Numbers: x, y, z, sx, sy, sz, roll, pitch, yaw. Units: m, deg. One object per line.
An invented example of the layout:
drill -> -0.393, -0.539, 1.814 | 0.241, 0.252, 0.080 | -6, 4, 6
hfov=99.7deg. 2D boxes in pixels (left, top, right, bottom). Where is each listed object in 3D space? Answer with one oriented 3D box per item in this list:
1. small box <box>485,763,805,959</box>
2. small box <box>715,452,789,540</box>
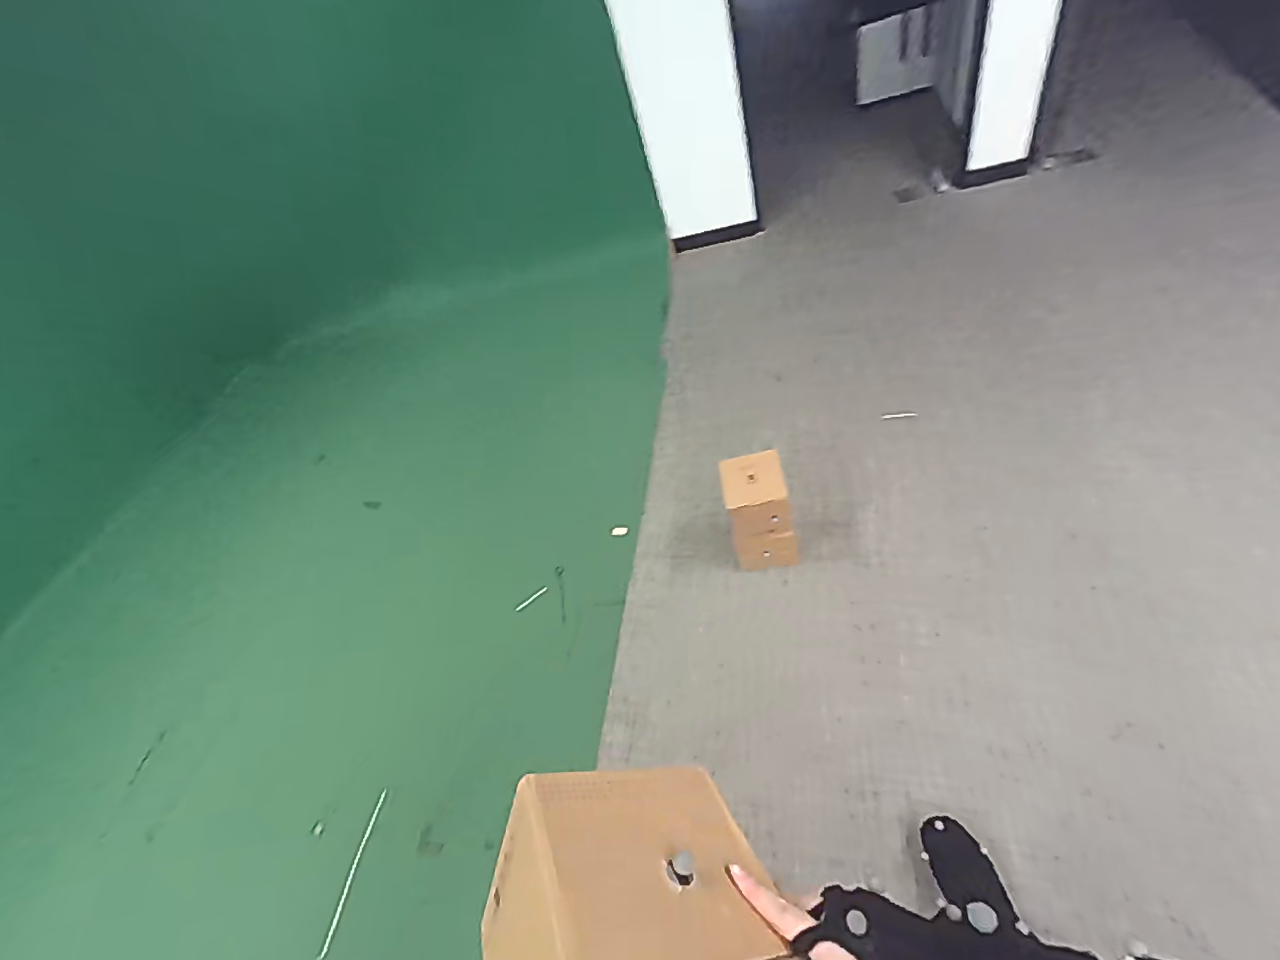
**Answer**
small box -> -0.012, 0.350, 0.424 | 0.176, 0.179, 0.168 | 39, 116, 63
small box -> 0.317, 0.053, 1.526 | 0.168, 0.176, 0.179 | -12, 47, 11
